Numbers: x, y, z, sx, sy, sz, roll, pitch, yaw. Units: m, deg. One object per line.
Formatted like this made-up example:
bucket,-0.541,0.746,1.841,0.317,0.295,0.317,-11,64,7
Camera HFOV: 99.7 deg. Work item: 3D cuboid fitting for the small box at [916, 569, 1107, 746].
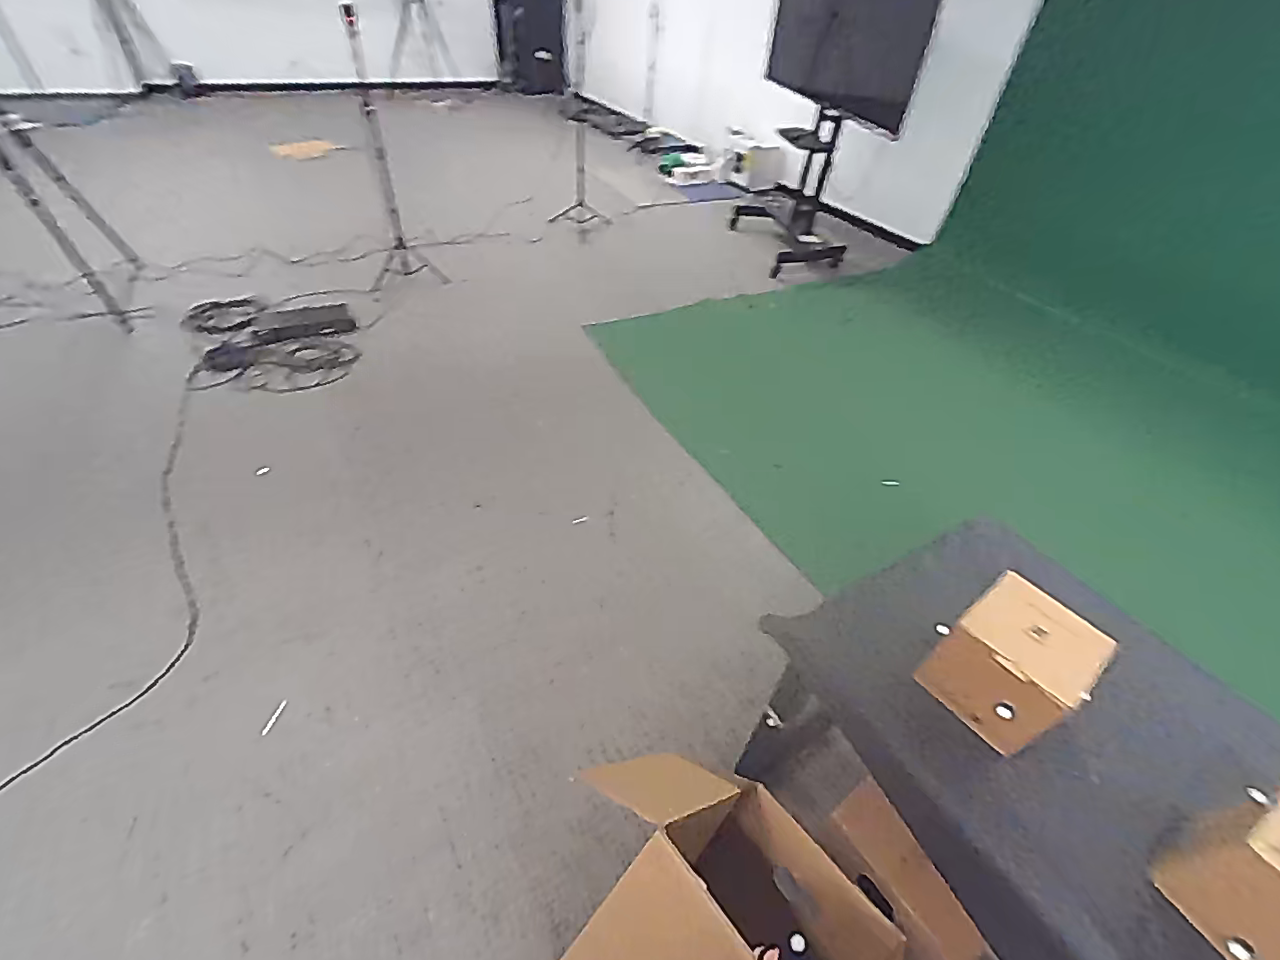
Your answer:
small box,0.574,0.282,0.859,0.179,0.176,0.168,-26,53,-31

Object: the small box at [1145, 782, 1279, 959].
small box,0.791,0.498,0.652,0.168,0.176,0.179,-18,49,-23
